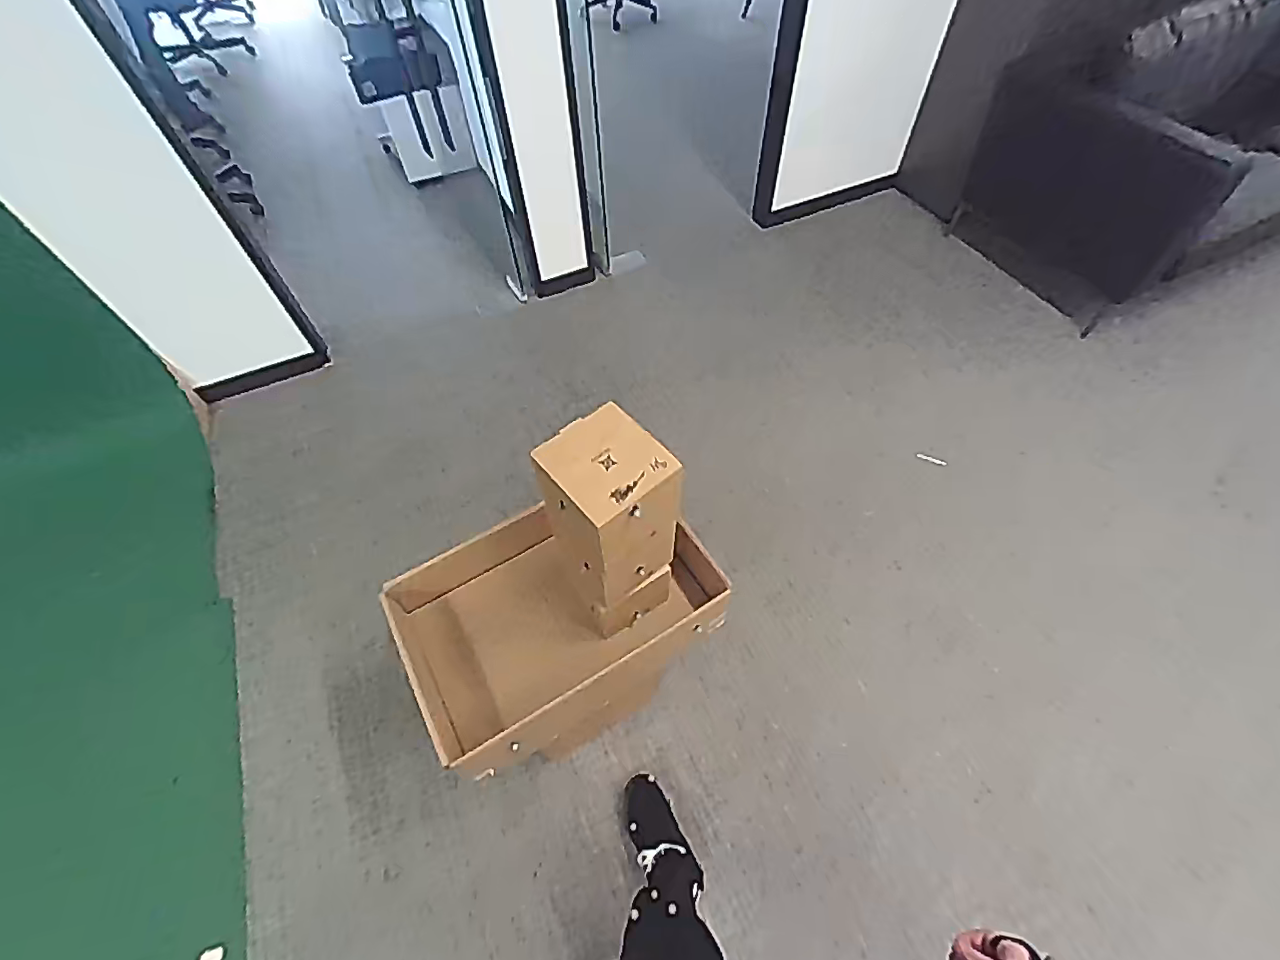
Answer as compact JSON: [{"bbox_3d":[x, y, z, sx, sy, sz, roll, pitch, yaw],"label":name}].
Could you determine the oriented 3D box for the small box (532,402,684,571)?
[{"bbox_3d":[-0.048,0.014,0.875,0.168,0.176,0.179,-36,62,-20],"label":"small box"}]

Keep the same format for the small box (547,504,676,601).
[{"bbox_3d":[-0.049,0.104,1.012,0.168,0.176,0.179,-33,62,-20],"label":"small box"}]
